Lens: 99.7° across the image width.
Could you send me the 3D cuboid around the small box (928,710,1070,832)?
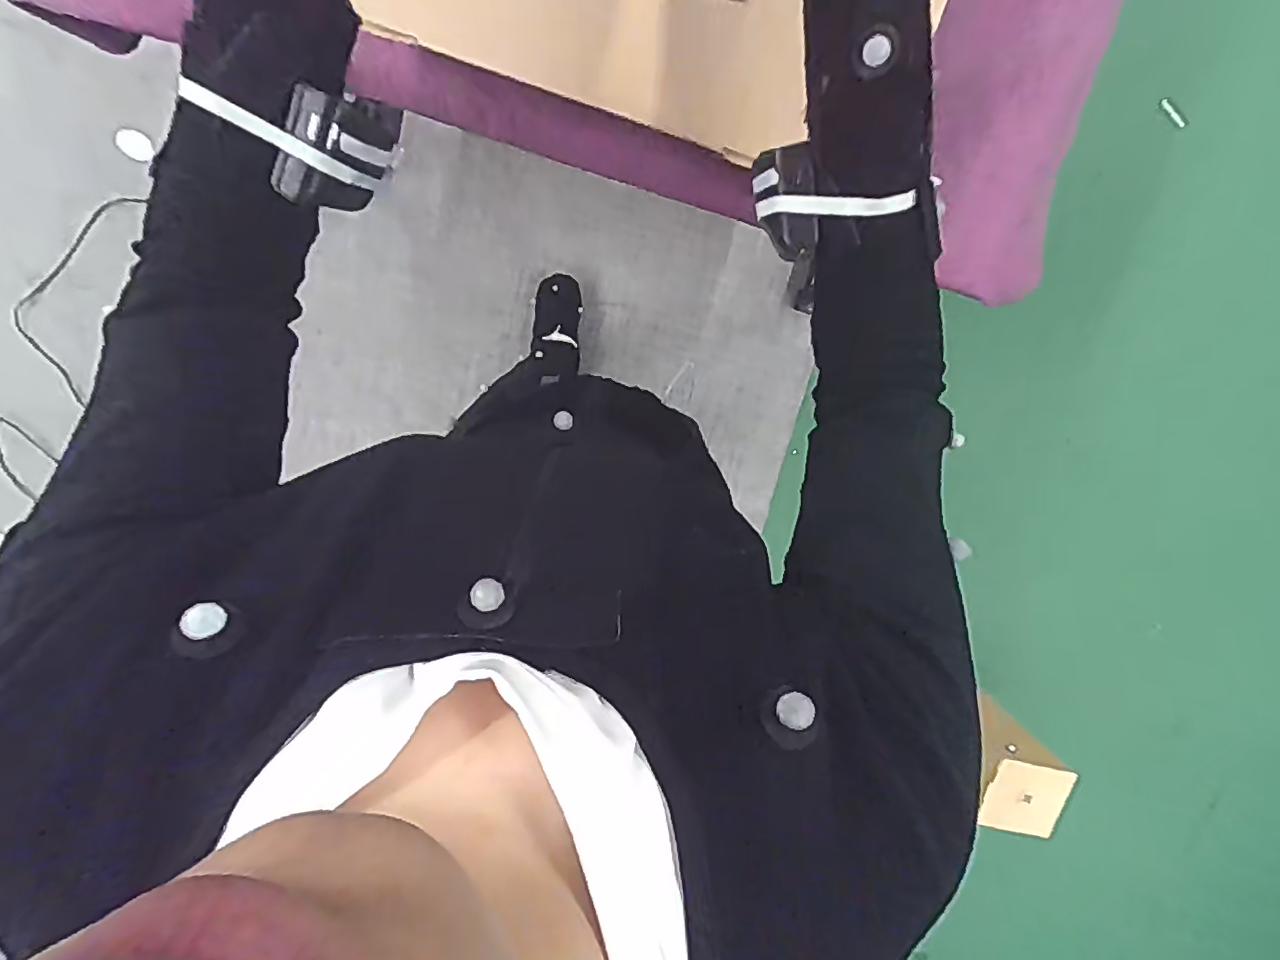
[{"bbox_3d":[0.801,0.650,1.224,0.179,0.176,0.168,14,102,-5],"label":"small box"}]
